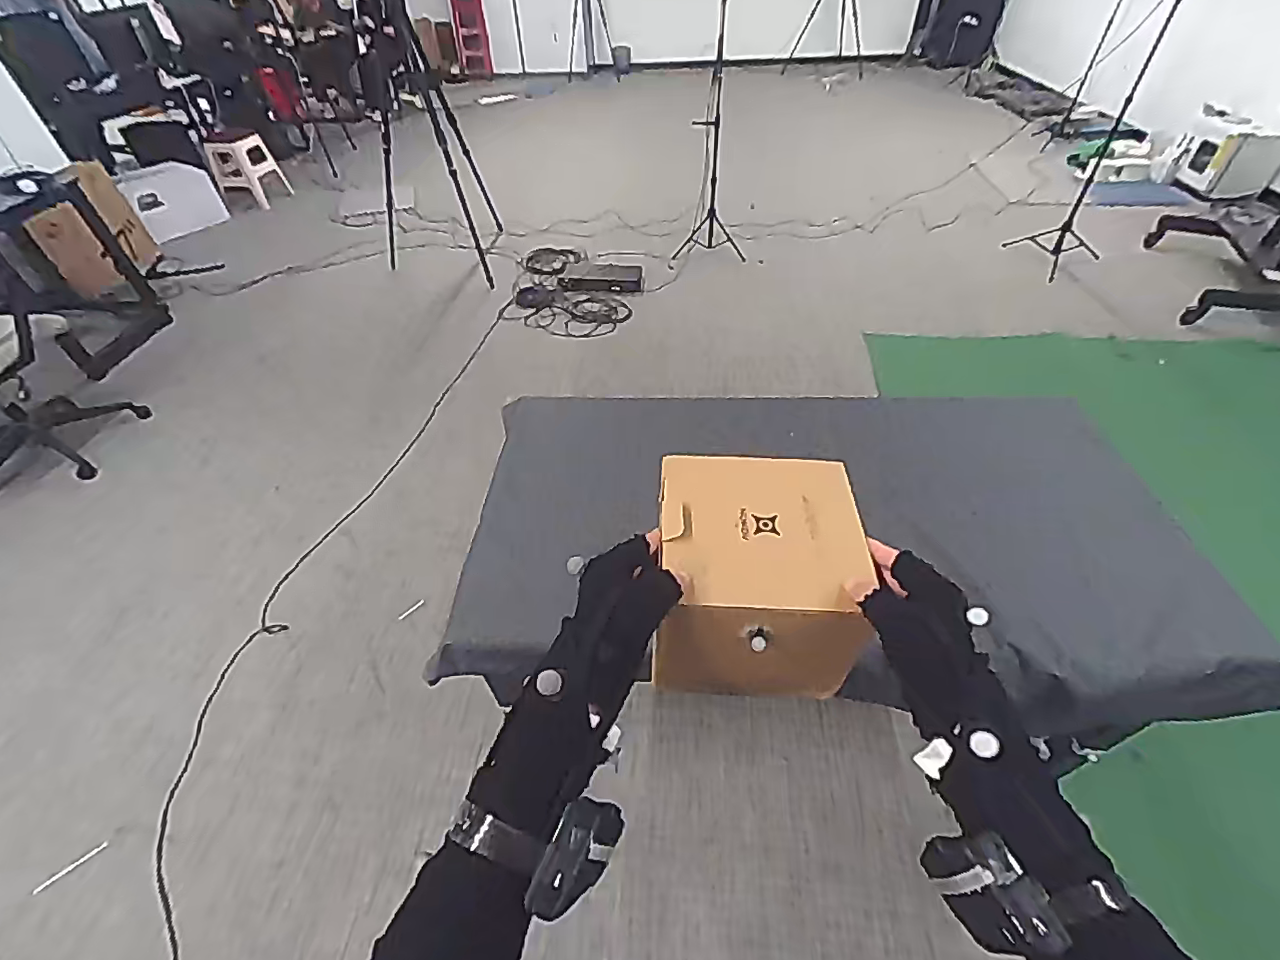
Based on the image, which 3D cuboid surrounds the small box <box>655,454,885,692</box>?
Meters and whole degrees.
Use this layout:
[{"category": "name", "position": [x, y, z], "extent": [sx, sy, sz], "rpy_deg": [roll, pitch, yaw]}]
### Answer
[{"category": "small box", "position": [0.105, 0.093, 0.528], "extent": [0.179, 0.176, 0.168], "rpy_deg": [3, 47, 0]}]
